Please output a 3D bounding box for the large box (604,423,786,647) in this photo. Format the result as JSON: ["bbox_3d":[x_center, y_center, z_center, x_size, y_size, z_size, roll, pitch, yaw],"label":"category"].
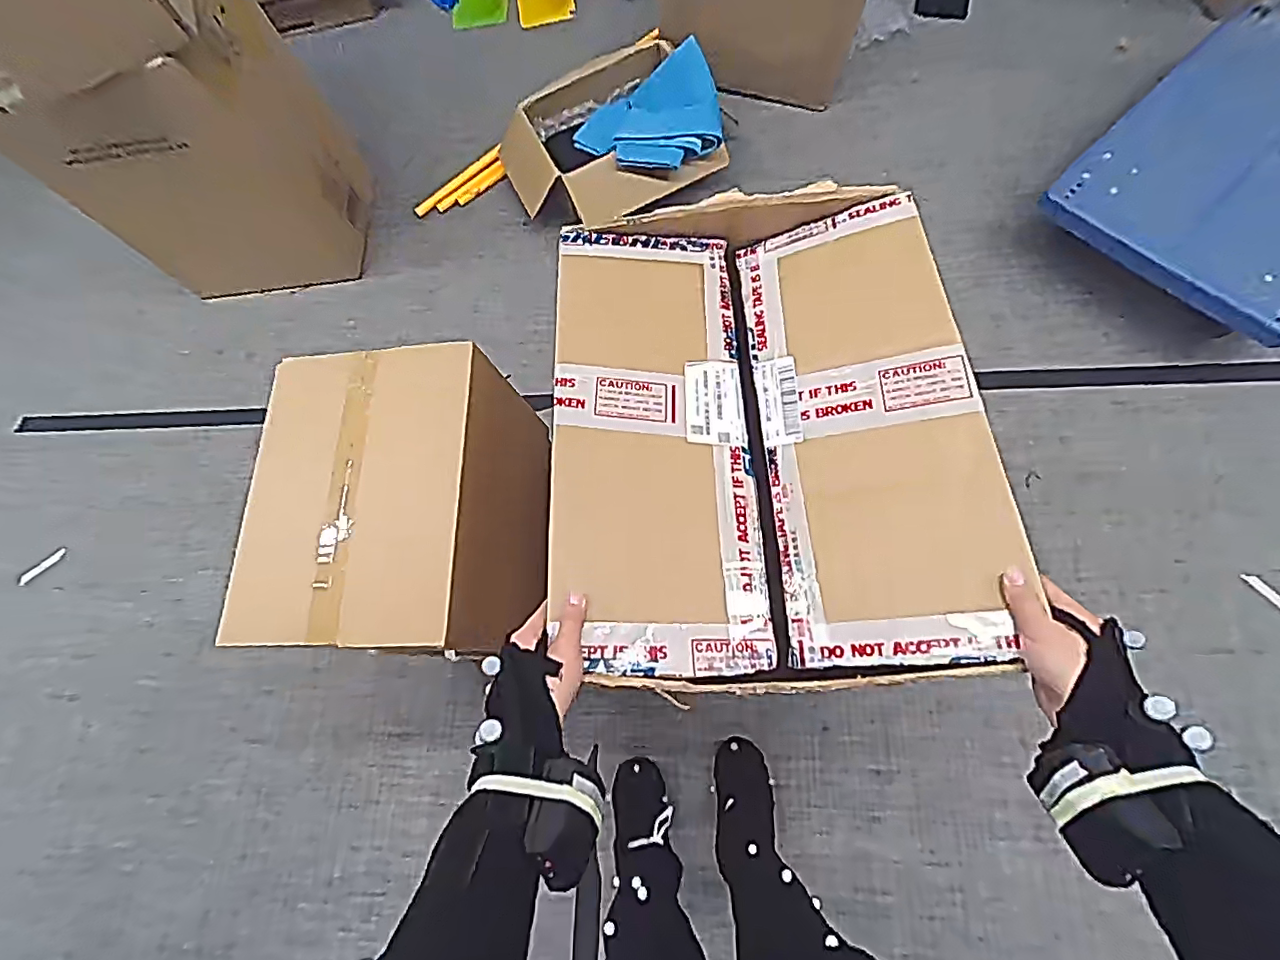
[{"bbox_3d":[0.102,0.131,1.118,0.320,0.320,0.408,-2,72,6],"label":"large box"}]
